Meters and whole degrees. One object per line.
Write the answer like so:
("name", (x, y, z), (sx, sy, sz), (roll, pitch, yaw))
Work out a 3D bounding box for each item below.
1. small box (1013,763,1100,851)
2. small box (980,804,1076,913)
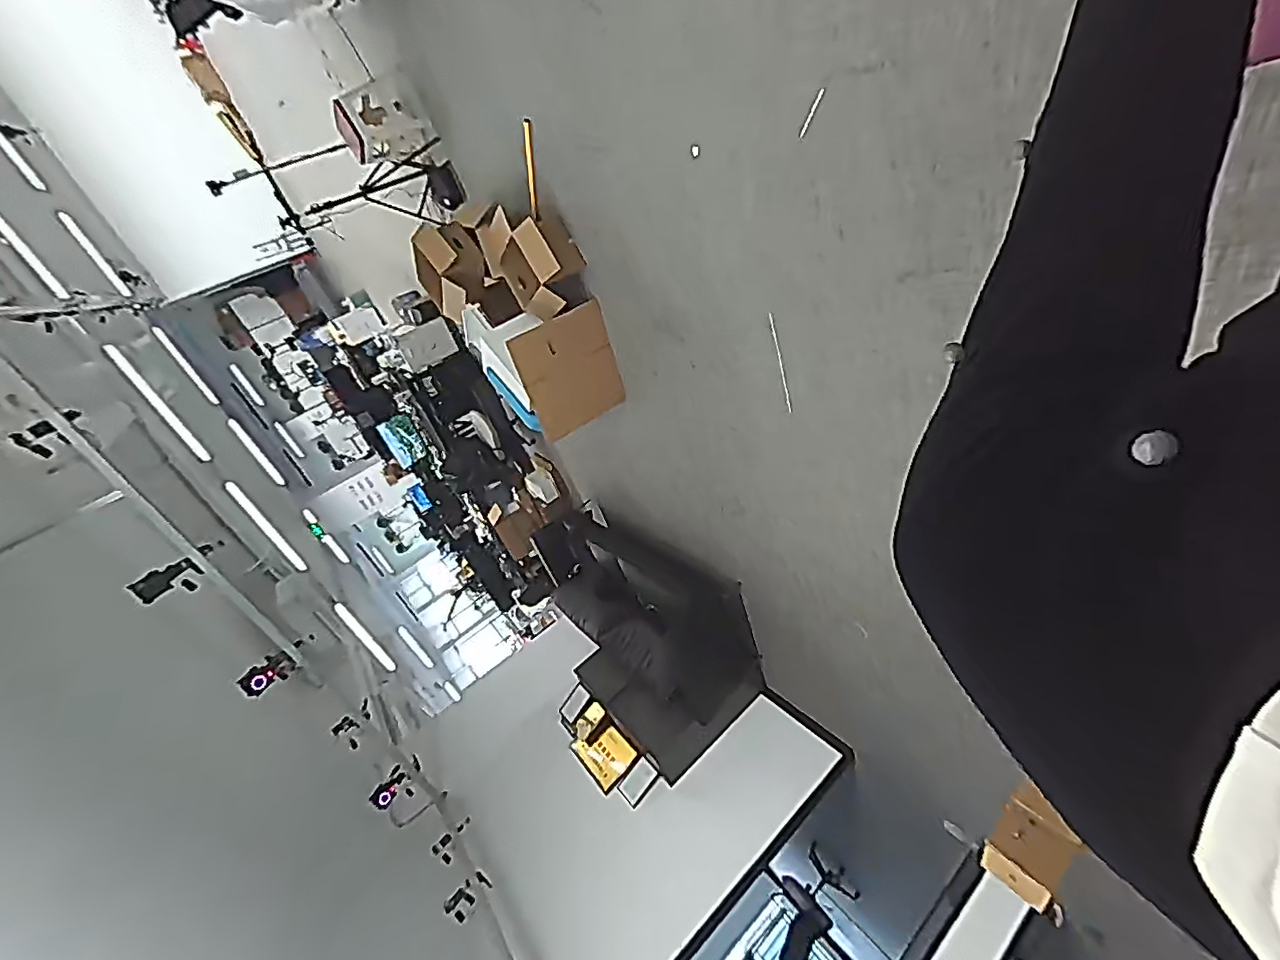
("small box", (1.242, 0.997, 1.628), (0.168, 0.176, 0.179), (29, 147, 45))
("small box", (1.123, 1.089, 1.567), (0.168, 0.176, 0.179), (29, 148, 46))
